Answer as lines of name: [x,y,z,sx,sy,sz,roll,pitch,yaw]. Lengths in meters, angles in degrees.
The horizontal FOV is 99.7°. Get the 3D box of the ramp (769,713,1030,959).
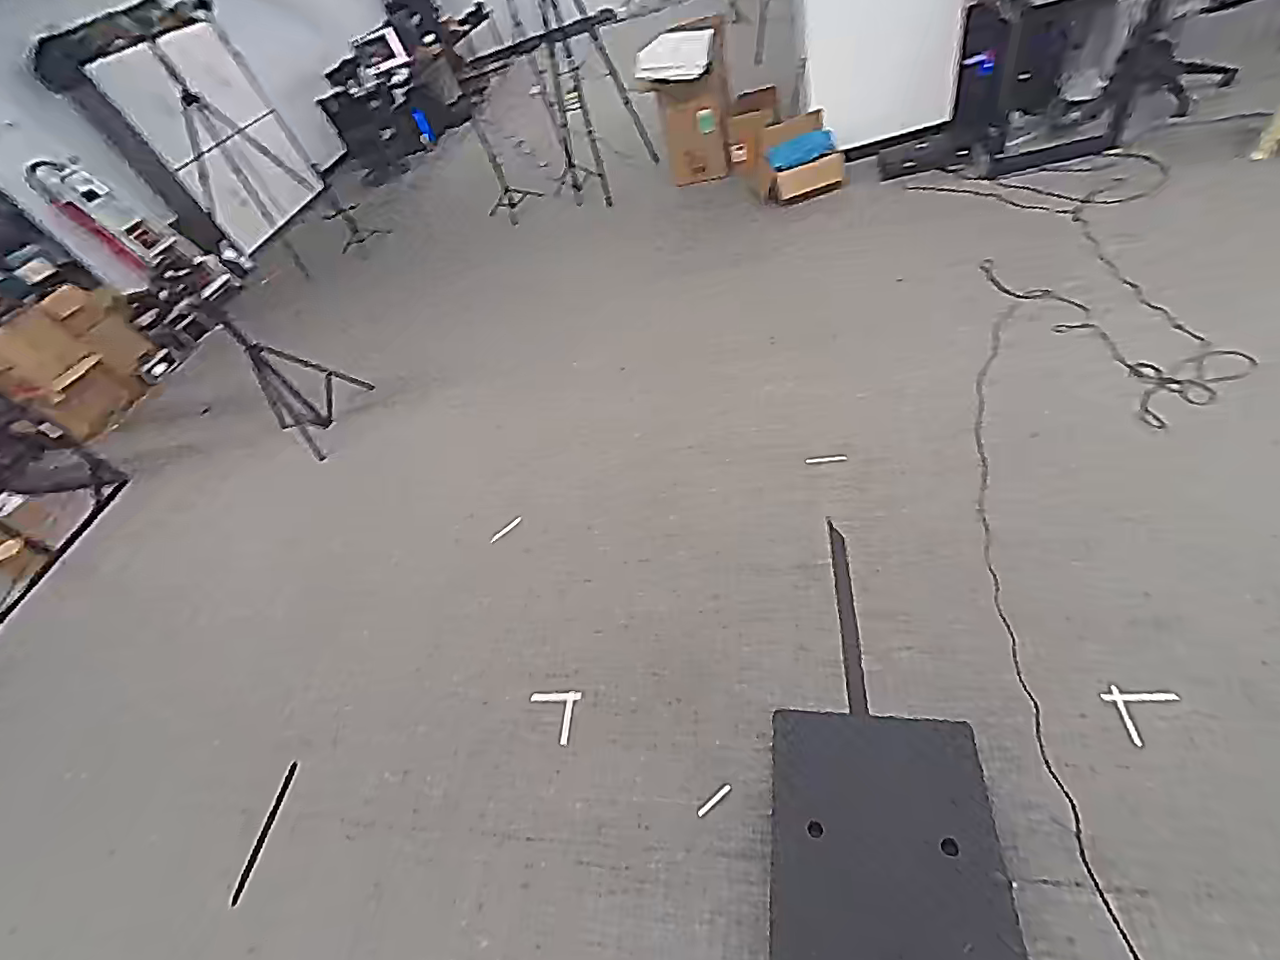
ramp: [0.508,0.963,1.086,0.509,0.206,0.991,-6,48,18]
